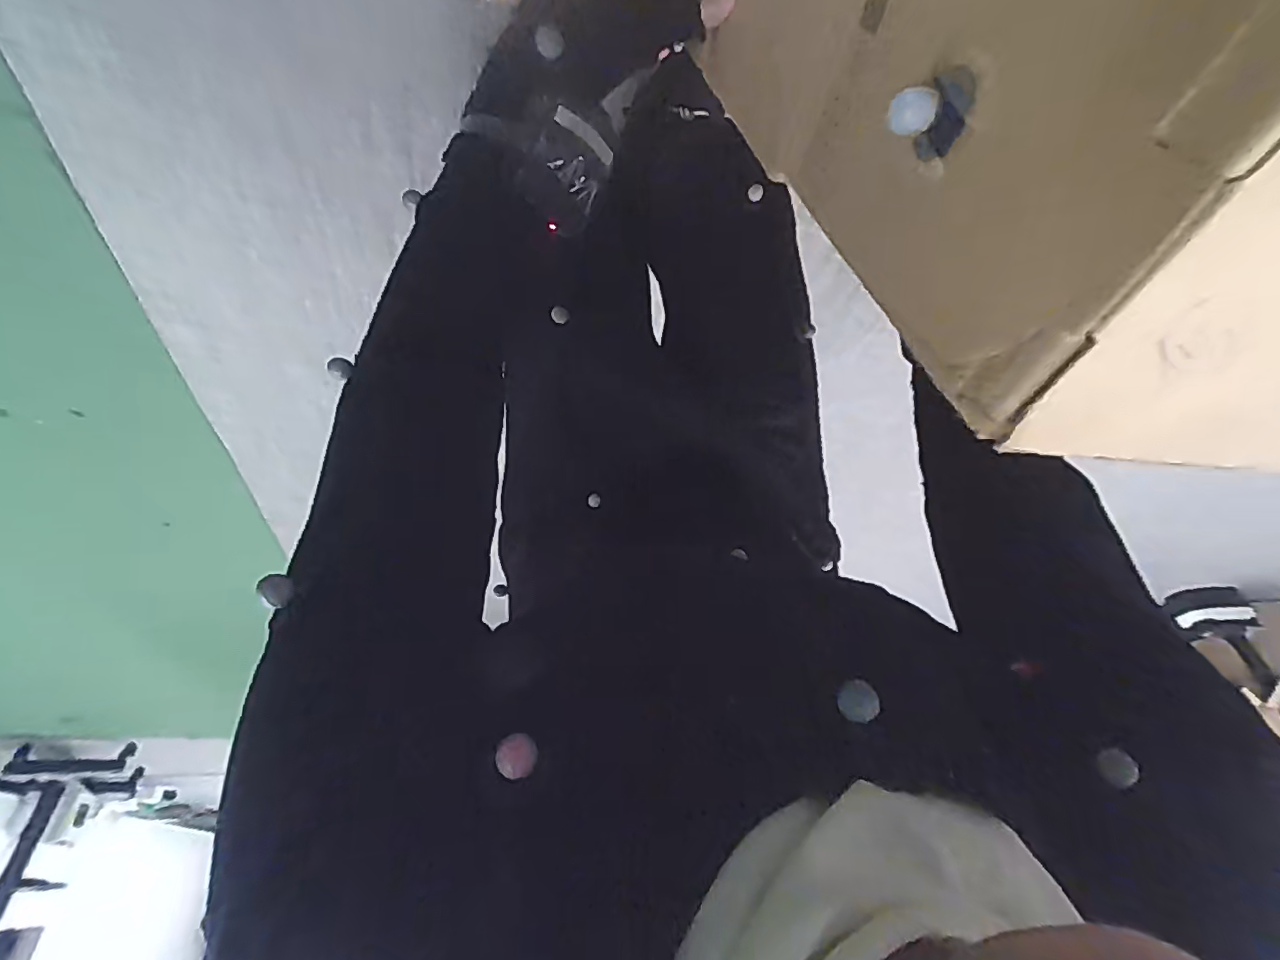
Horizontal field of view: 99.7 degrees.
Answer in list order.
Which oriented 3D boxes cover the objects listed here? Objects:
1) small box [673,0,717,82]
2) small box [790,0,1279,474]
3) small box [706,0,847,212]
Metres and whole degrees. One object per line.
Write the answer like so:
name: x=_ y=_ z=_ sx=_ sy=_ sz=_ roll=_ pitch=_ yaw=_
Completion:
small box: x=0.122 y=-0.368 z=0.347 sx=0.168 sy=0.176 sz=0.179 roll=3 pitch=140 yaw=-12
small box: x=0.164 y=-0.119 z=0.141 sx=0.179 sy=0.176 sz=0.168 roll=2 pitch=140 yaw=-13
small box: x=0.145 y=-0.237 z=0.250 sx=0.179 sy=0.176 sz=0.168 roll=1 pitch=139 yaw=-11
